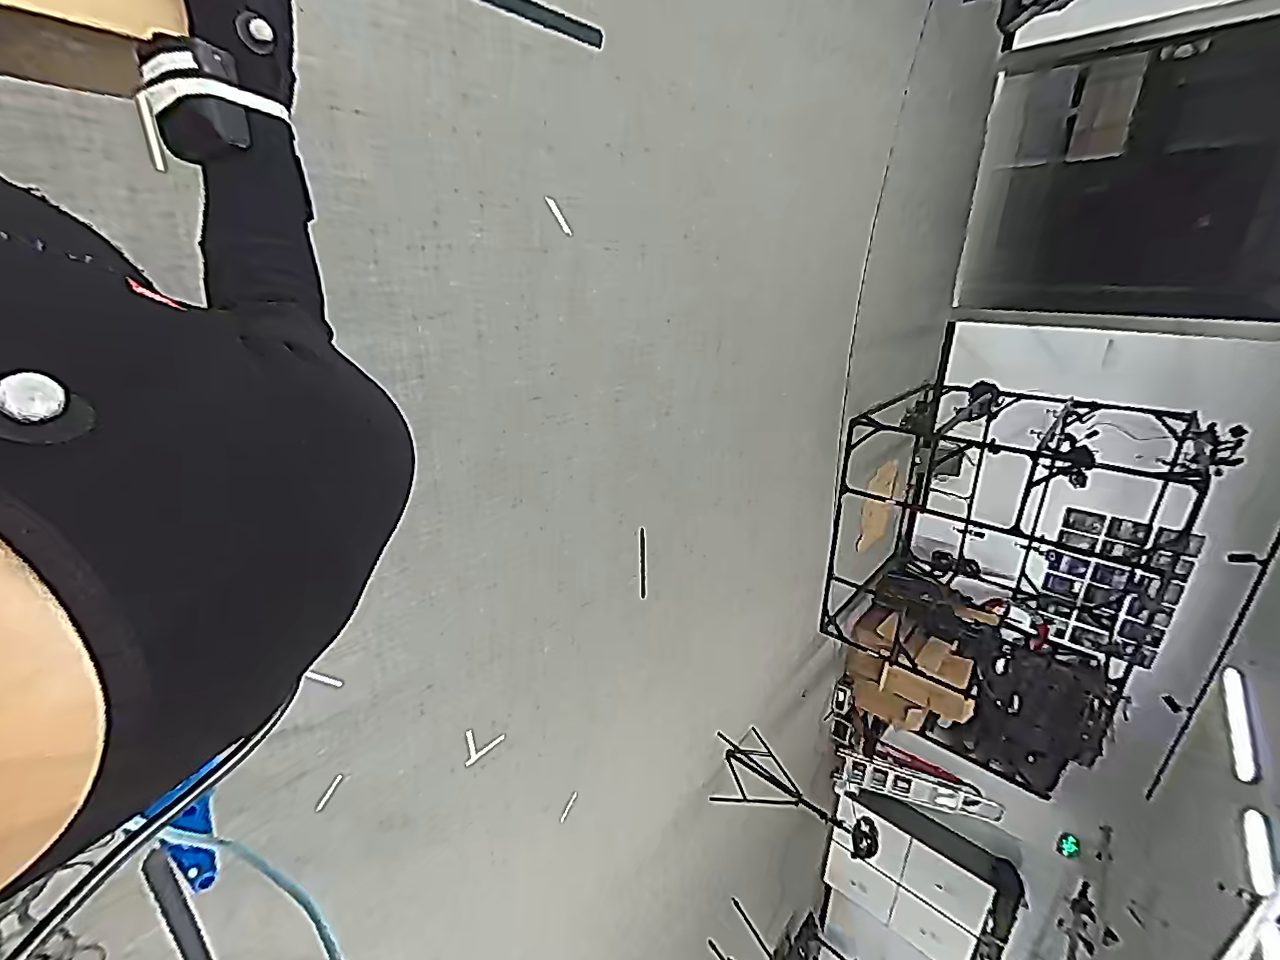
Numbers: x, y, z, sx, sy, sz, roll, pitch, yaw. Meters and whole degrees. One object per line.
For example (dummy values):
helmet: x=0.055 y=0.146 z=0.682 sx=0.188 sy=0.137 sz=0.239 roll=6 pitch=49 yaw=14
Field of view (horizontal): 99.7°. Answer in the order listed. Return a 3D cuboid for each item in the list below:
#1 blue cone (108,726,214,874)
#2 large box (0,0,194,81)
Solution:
blue cone: x=-1.037 y=0.748 z=1.214 sx=0.193 sy=0.380 sz=0.192 roll=7 pitch=98 yaw=-52
large box: x=-0.554 y=-0.460 z=0.281 sx=0.408 sy=0.320 sz=0.320 roll=-20 pitch=124 yaw=-45
